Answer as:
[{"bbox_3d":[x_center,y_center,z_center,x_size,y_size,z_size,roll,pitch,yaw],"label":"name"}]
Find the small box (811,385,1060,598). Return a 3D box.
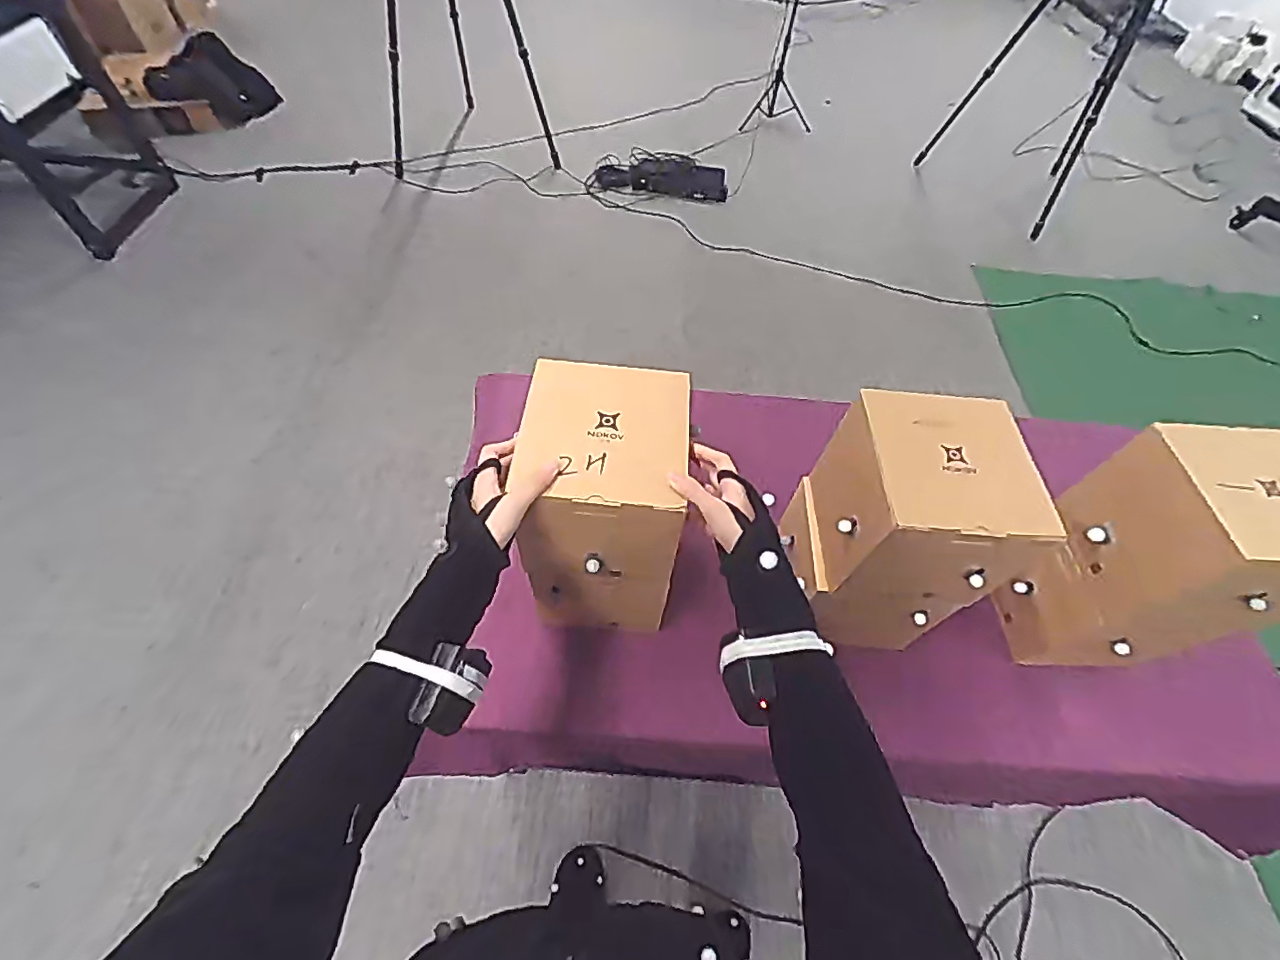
[{"bbox_3d":[0.307,0.019,0.609,0.168,0.176,0.179,5,54,-2],"label":"small box"}]

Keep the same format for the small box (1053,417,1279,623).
[{"bbox_3d":[0.624,0.051,0.602,0.179,0.176,0.168,3,55,-1],"label":"small box"}]

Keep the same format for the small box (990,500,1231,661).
[{"bbox_3d":[0.616,0.142,0.739,0.179,0.176,0.168,2,55,-2],"label":"small box"}]

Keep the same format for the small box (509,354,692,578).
[{"bbox_3d":[-0.037,-0.012,0.601,0.168,0.176,0.179,5,55,0],"label":"small box"}]

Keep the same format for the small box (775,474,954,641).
[{"bbox_3d":[0.290,0.111,0.742,0.179,0.176,0.168,6,55,-1],"label":"small box"}]
